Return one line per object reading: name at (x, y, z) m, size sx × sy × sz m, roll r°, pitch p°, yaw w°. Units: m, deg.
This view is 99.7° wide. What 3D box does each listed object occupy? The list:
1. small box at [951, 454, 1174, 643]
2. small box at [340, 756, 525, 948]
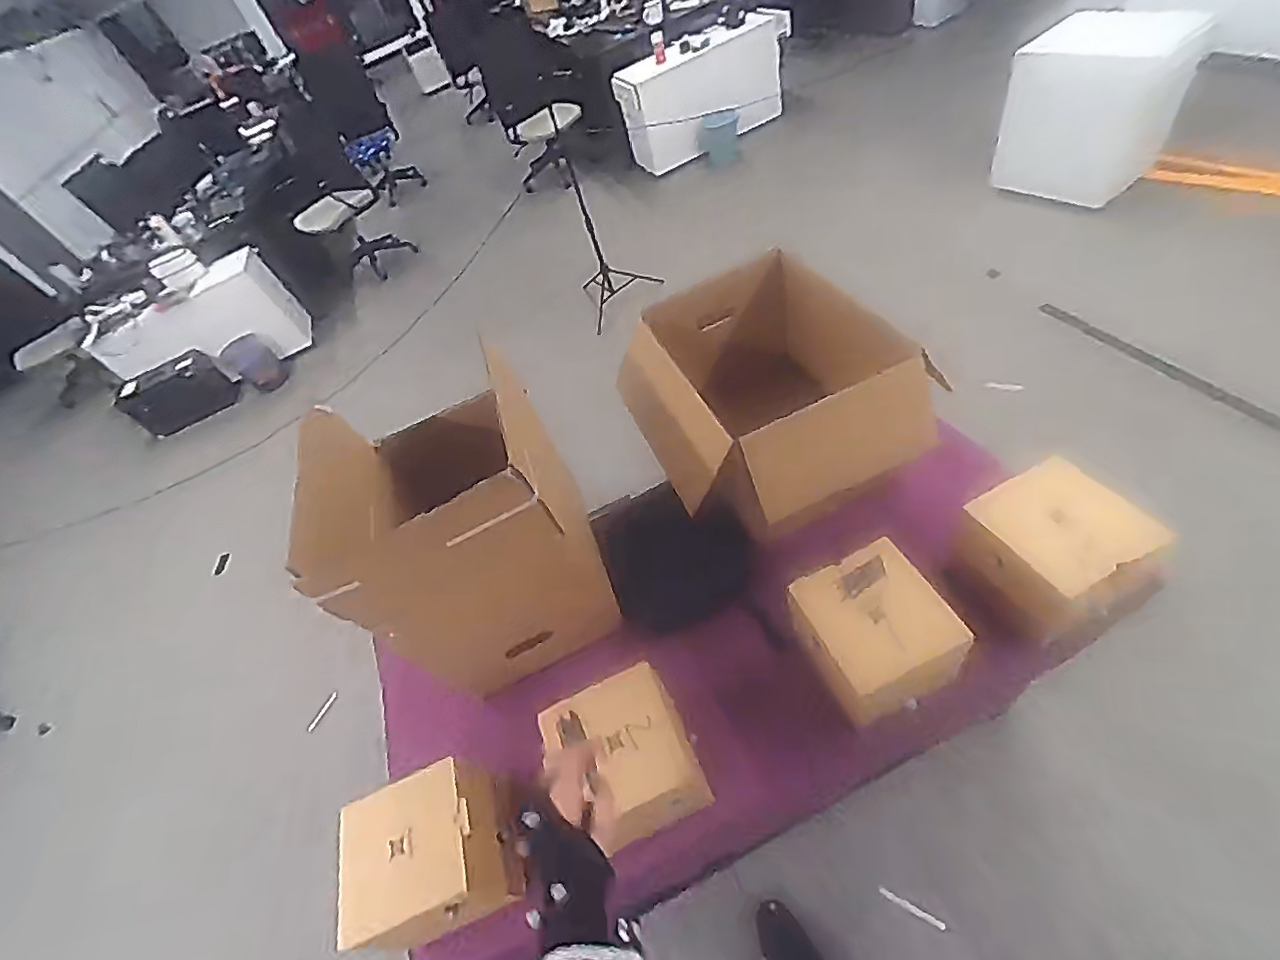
small box at (0.587, 0.102, 0.785) m, size 0.168 × 0.176 × 0.179 m, roll -28°, pitch 48°, yaw -2°
small box at (-0.288, 0.529, 0.766) m, size 0.179 × 0.176 × 0.168 m, roll -25°, pitch 48°, yaw -2°
